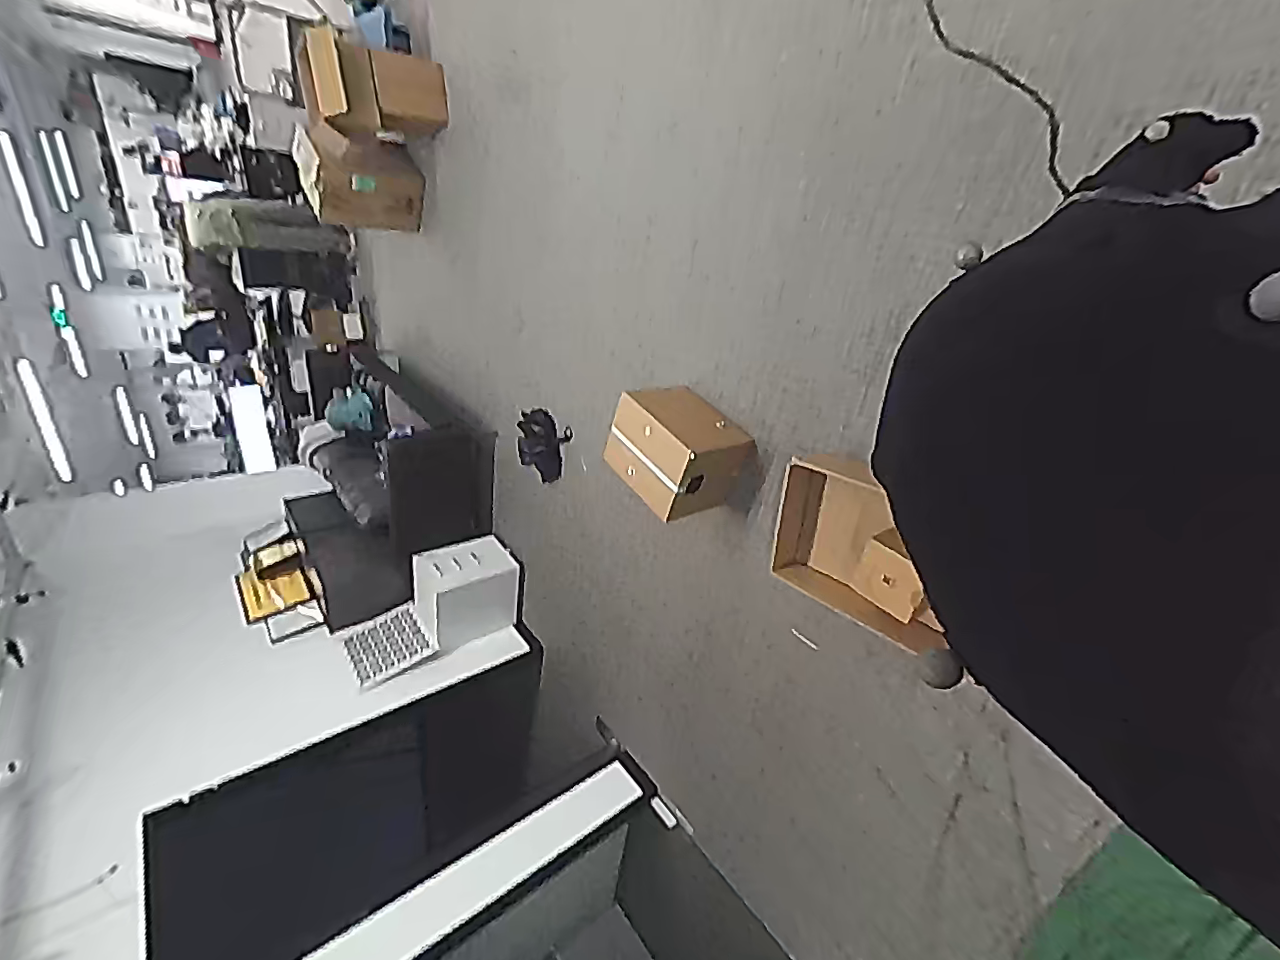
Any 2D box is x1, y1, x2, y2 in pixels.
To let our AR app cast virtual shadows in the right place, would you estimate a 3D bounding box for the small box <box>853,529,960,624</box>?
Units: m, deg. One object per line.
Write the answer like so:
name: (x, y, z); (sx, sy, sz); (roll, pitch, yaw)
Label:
small box: (0.713, 0.248, 1.445); (0.179, 0.176, 0.168); (37, 127, 43)
